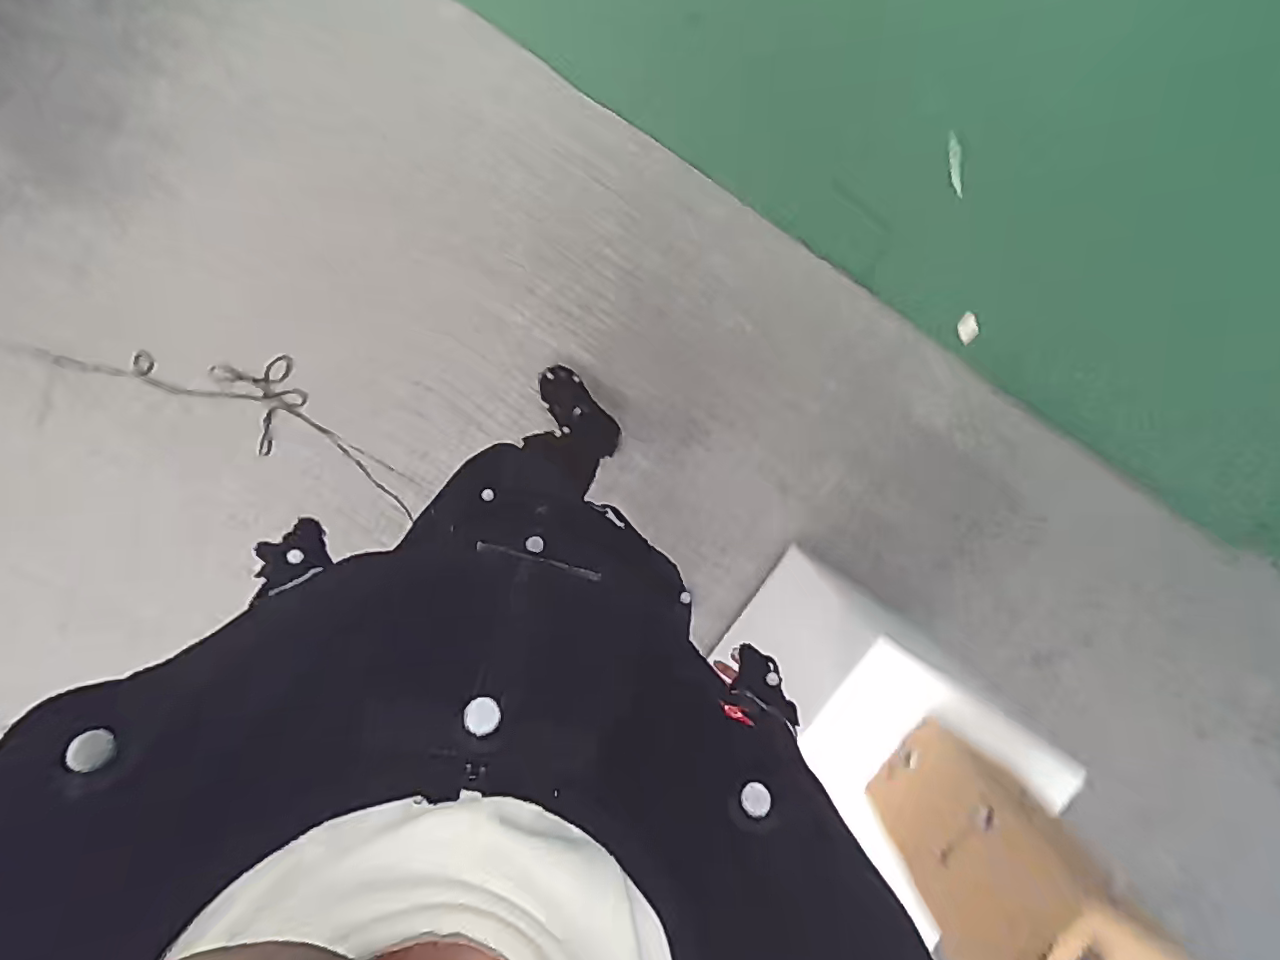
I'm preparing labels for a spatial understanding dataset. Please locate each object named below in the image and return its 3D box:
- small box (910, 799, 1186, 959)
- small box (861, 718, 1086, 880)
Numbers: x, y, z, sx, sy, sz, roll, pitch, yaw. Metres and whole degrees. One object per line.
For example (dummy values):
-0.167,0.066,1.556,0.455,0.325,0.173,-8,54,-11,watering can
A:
0.450,0.505,0.609,0.179,0.176,0.168,35,98,-3,small box
0.457,0.482,0.772,0.179,0.176,0.168,34,98,-1,small box
